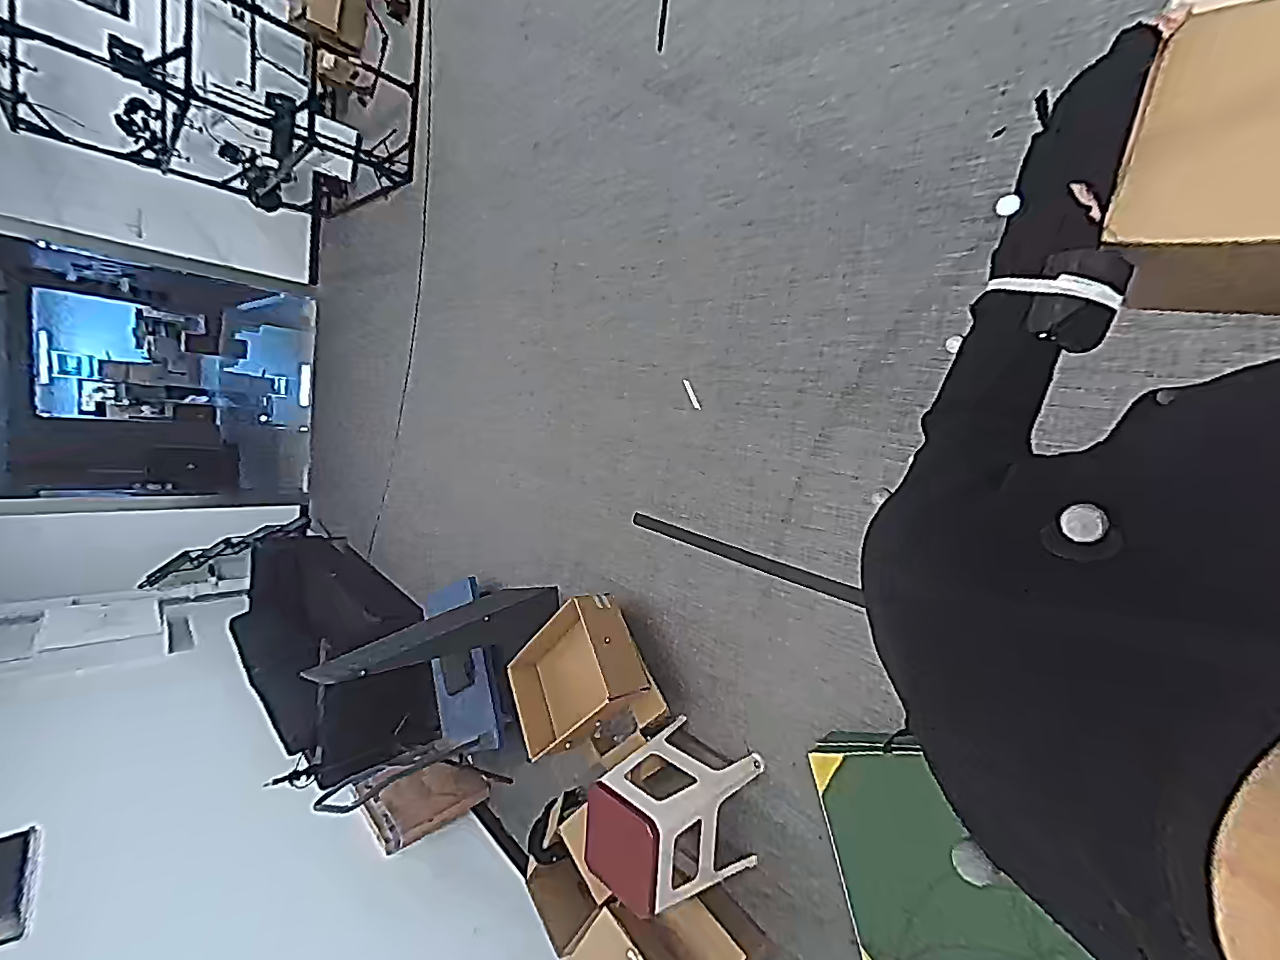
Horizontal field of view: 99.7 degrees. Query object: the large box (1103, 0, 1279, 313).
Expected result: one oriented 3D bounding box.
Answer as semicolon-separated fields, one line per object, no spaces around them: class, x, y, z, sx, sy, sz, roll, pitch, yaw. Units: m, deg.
large box;0.620;-0.292;0.367;0.408;0.320;0.320;20;108;41
